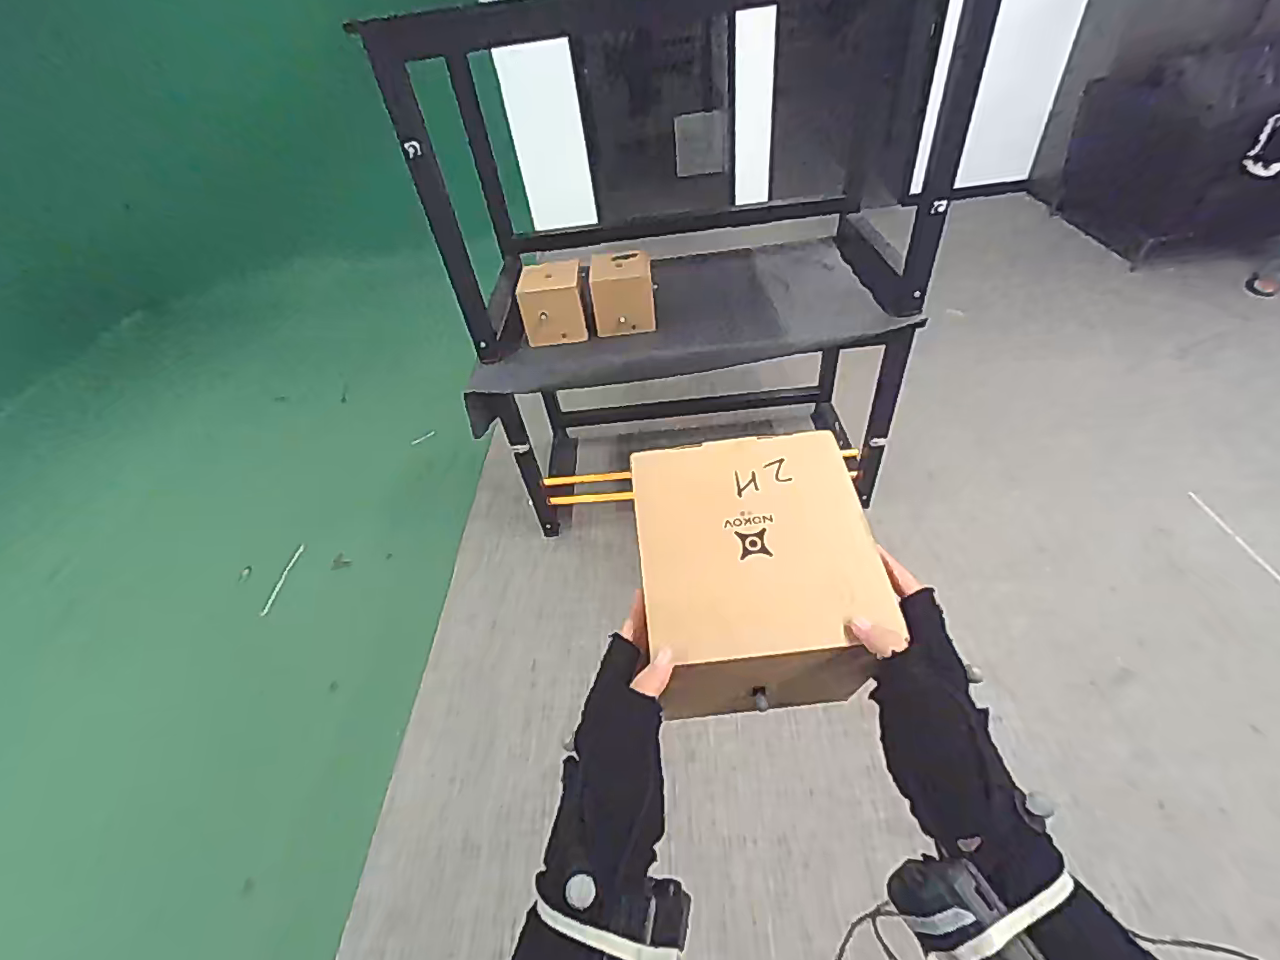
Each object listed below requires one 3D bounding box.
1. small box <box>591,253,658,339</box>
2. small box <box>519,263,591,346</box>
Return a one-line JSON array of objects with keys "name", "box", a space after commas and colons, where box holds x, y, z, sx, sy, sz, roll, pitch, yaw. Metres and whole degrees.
[{"name": "small box", "box": [-0.039, -0.521, 1.534, 0.168, 0.176, 0.179, -6, 44, 5]}, {"name": "small box", "box": [-0.234, -0.492, 1.538, 0.168, 0.176, 0.179, -6, 43, 3]}]
